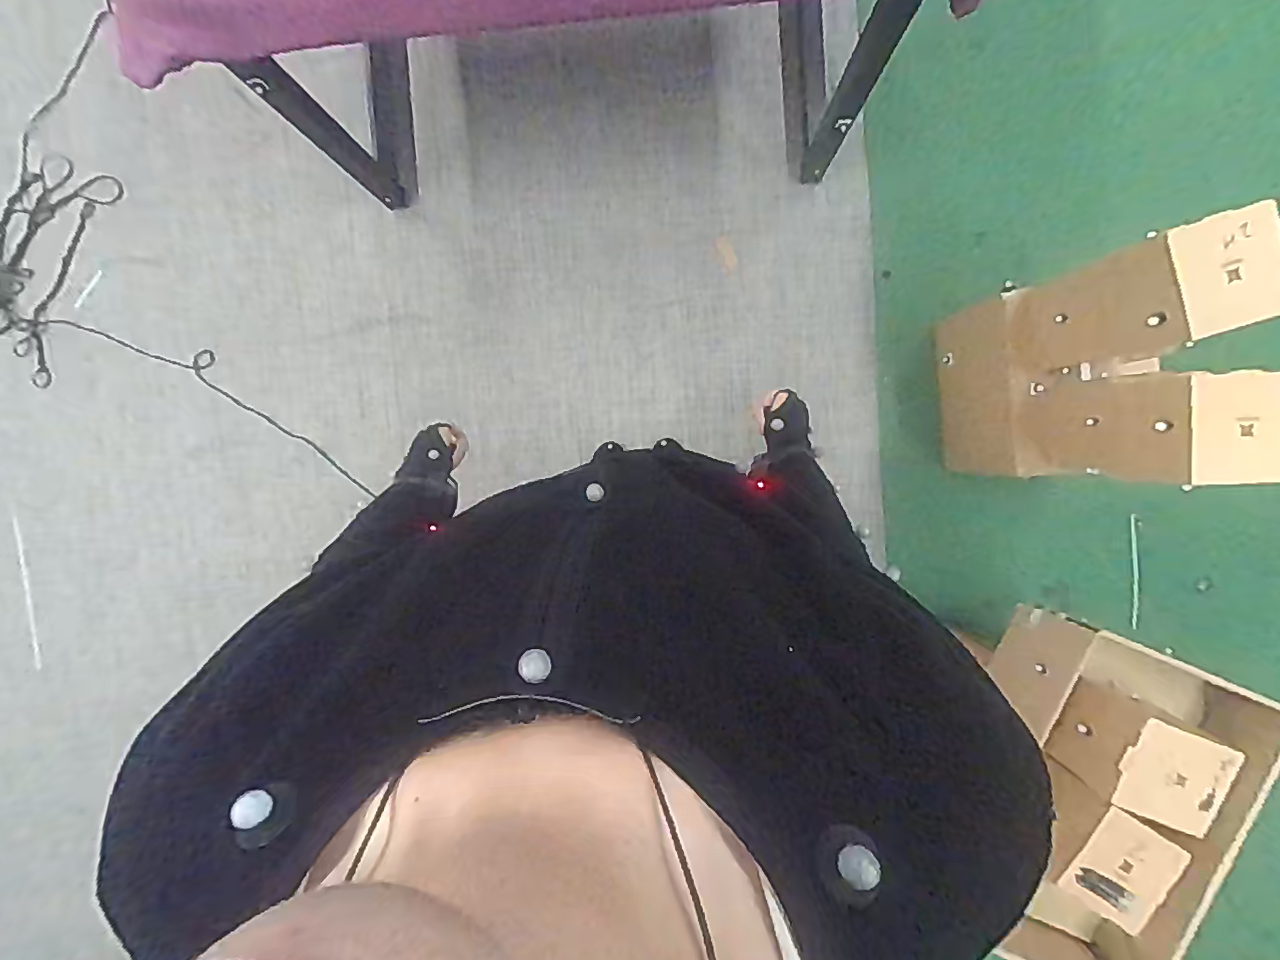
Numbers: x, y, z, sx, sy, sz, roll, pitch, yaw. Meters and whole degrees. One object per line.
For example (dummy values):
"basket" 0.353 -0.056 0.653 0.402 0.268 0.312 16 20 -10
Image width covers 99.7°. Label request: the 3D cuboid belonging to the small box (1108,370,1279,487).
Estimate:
"small box" 0.932 -0.082 0.904 0.168 0.176 0.179 -2 91 4
